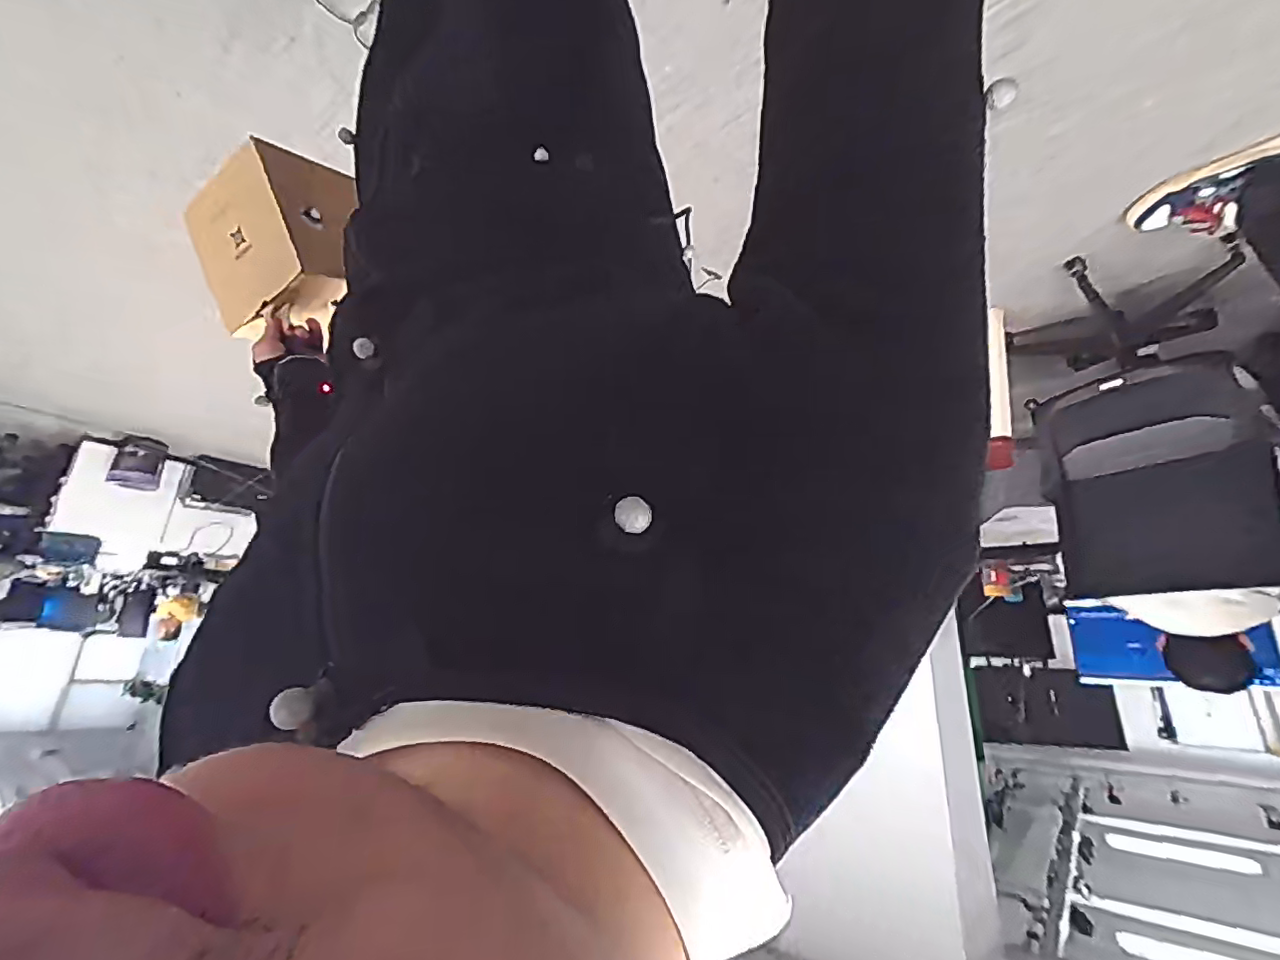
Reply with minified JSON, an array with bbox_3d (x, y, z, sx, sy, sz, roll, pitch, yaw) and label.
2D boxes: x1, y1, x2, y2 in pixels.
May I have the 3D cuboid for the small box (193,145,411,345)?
[{"bbox_3d":[-0.446,-0.295,0.733,0.168,0.179,0.176,-23,177,25],"label":"small box"}]
